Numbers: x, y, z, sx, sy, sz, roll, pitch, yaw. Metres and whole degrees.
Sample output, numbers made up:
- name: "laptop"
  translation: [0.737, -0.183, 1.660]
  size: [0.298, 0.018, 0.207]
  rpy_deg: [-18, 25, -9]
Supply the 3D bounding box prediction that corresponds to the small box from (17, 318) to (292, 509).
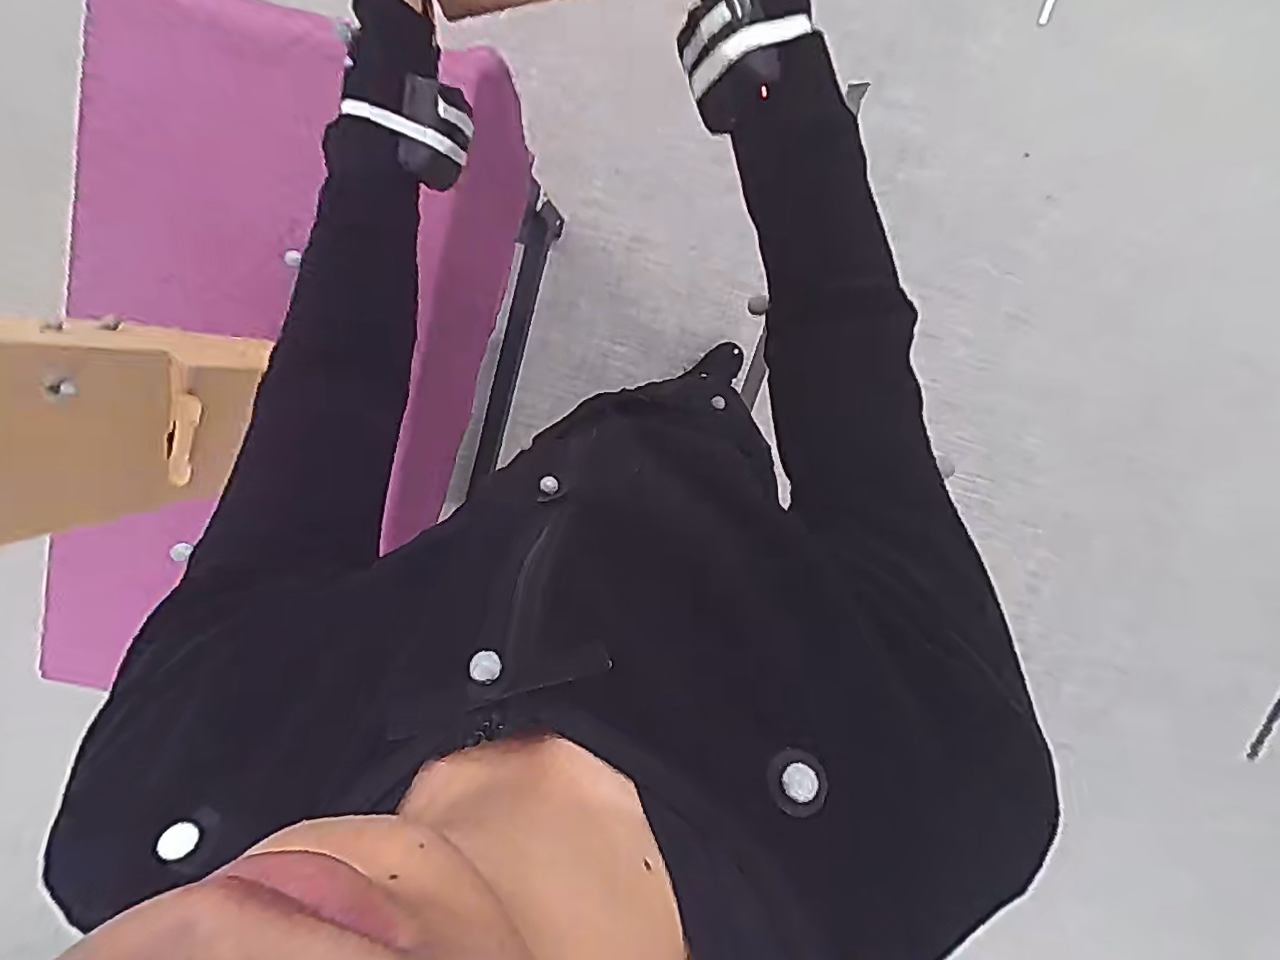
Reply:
- name: "small box"
  translation: [-0.576, -0.082, 0.659]
  size: [0.179, 0.176, 0.168]
  rpy_deg: [18, 102, 0]
